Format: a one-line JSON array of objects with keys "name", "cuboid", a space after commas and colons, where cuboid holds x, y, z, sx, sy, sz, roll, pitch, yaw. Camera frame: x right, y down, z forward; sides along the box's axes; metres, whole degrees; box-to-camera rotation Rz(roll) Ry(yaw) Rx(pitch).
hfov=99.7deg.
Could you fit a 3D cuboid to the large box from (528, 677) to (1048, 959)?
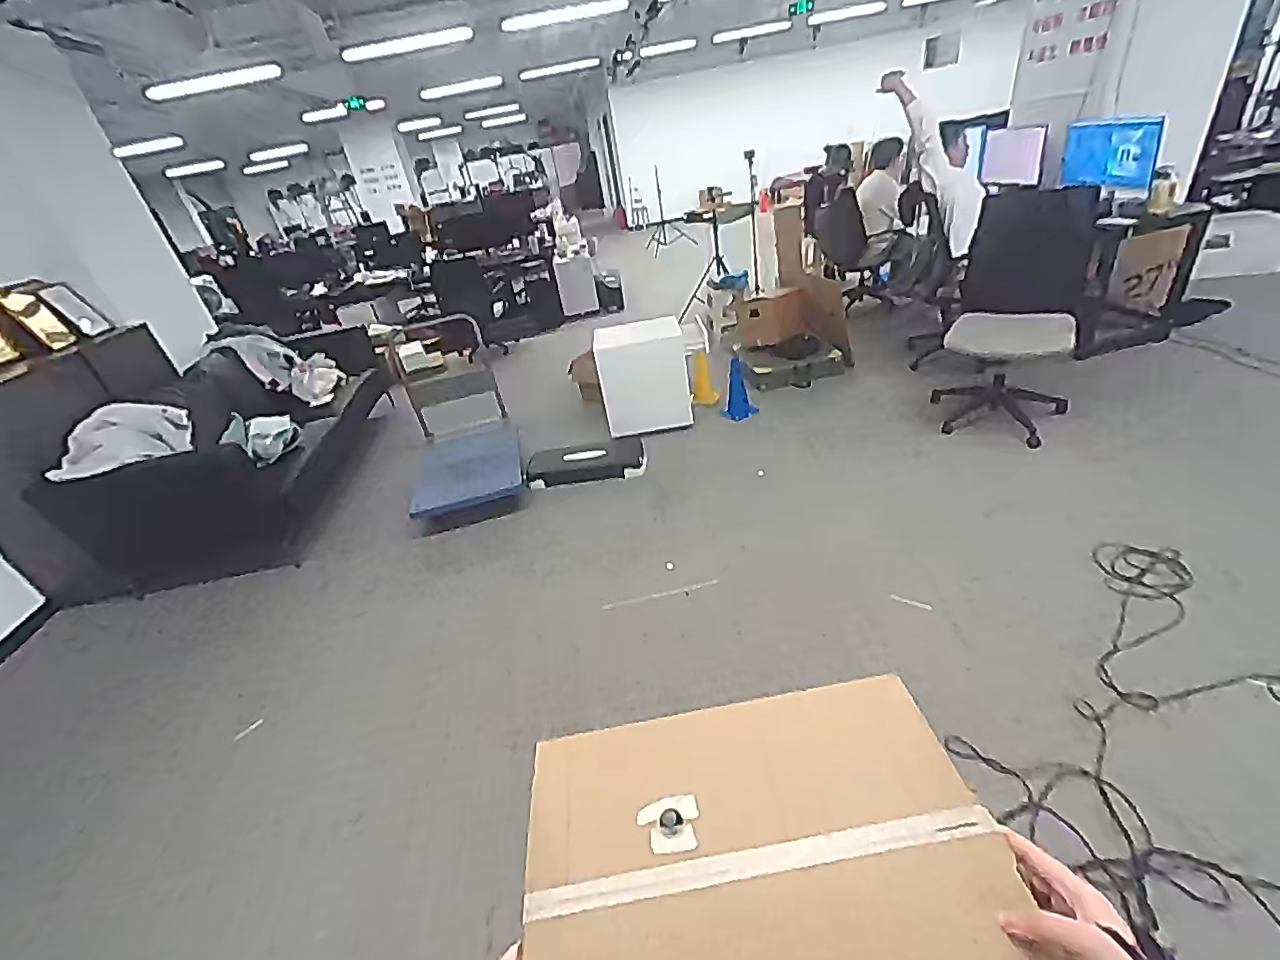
[{"name": "large box", "cuboid": [0.127, 0.465, 0.558, 0.408, 0.320, 0.320, -13, 31, 2]}]
